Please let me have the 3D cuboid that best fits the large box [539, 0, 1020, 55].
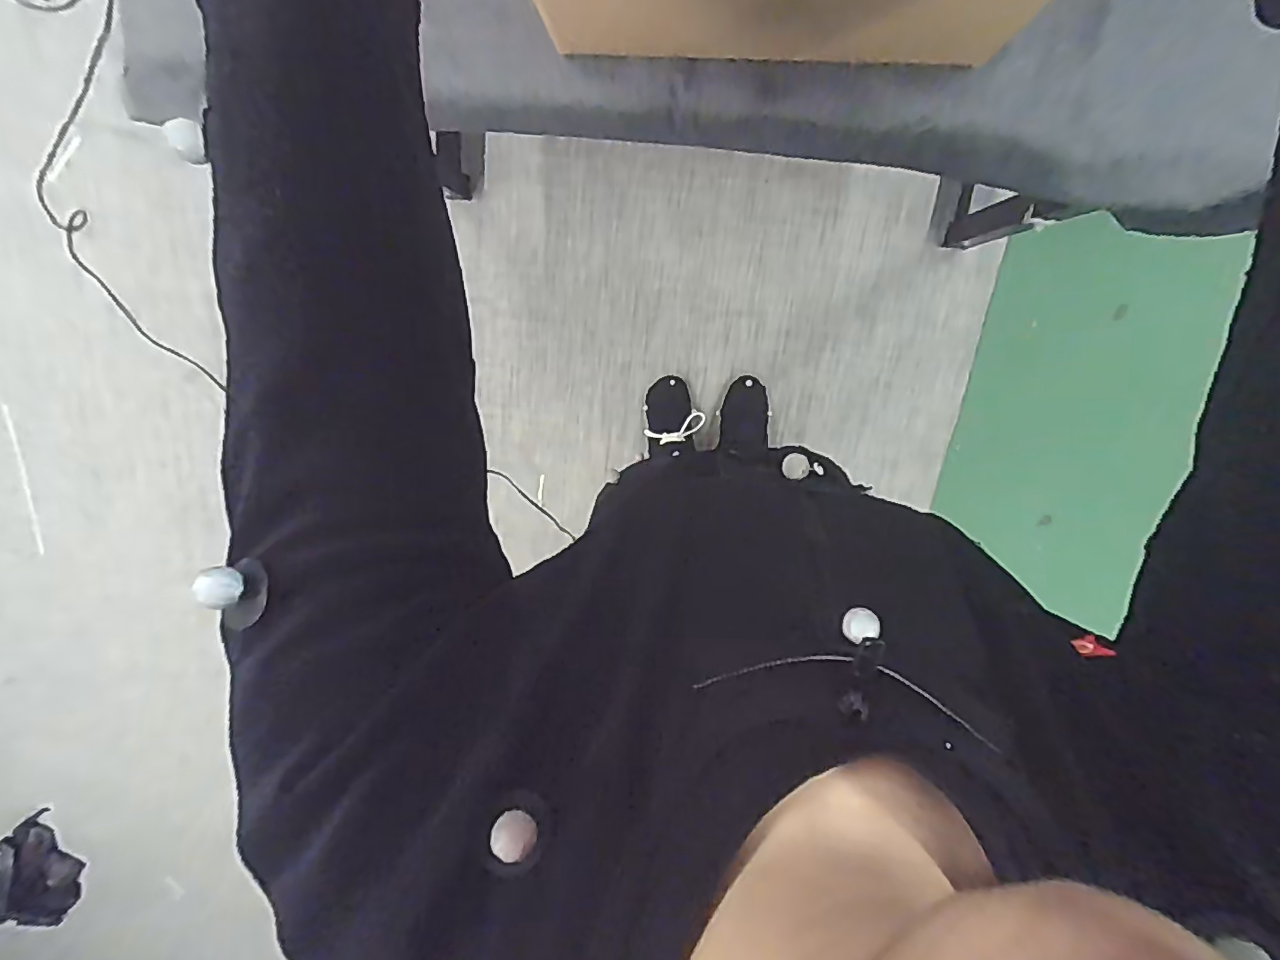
[{"bbox_3d":[0.109,-0.517,0.335,0.408,0.320,0.320,3,105,3],"label":"large box"}]
